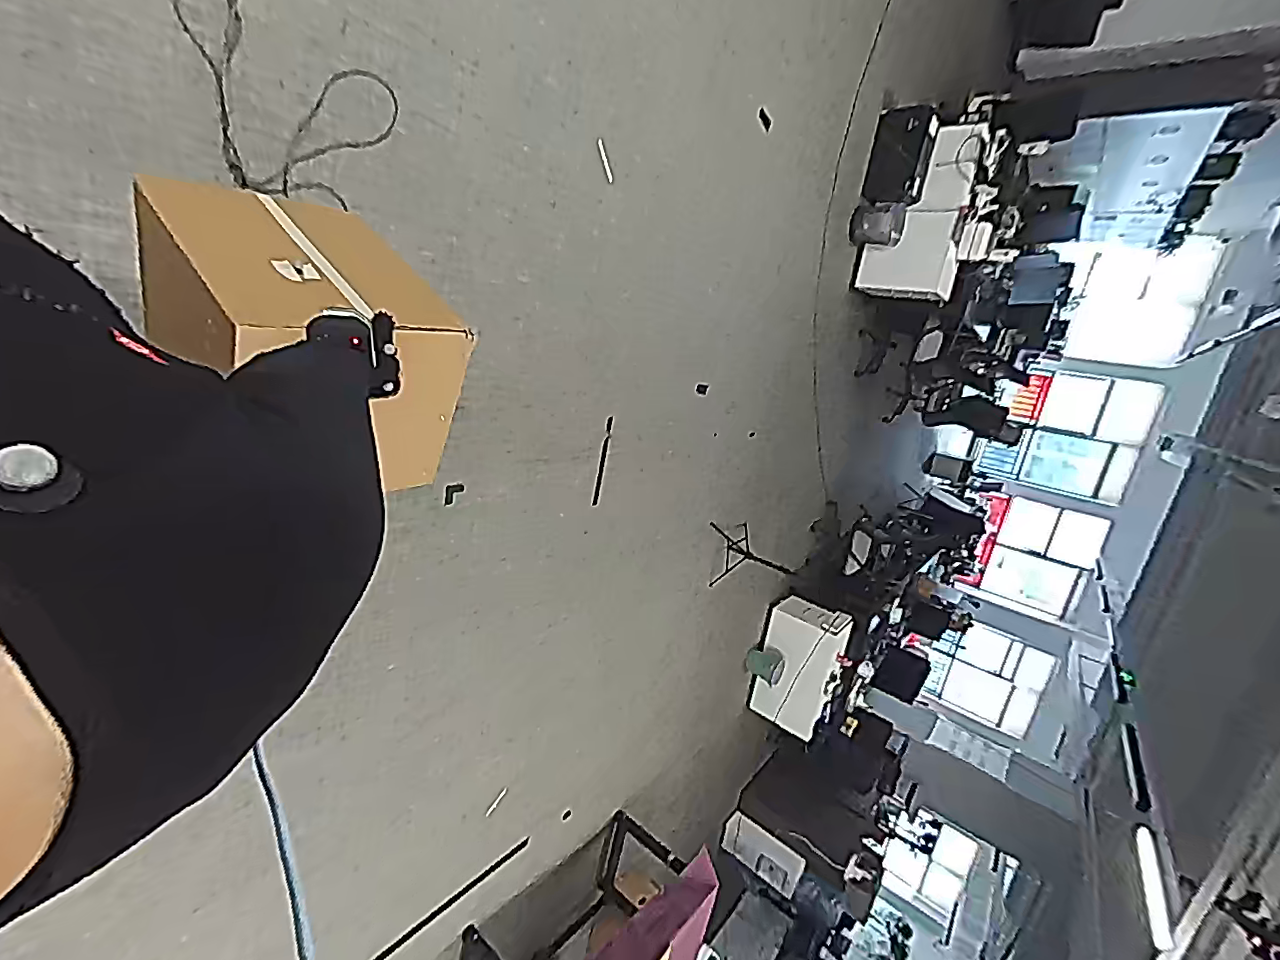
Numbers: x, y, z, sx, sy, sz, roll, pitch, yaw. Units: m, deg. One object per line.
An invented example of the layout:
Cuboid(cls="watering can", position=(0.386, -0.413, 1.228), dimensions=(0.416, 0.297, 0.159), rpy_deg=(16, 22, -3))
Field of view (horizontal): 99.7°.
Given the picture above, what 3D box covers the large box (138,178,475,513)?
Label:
Cuboid(cls="large box", position=(-0.547, -0.214, 0.881), dimensions=(0.320, 0.408, 0.320), rpy_deg=(-18, 146, -49))
